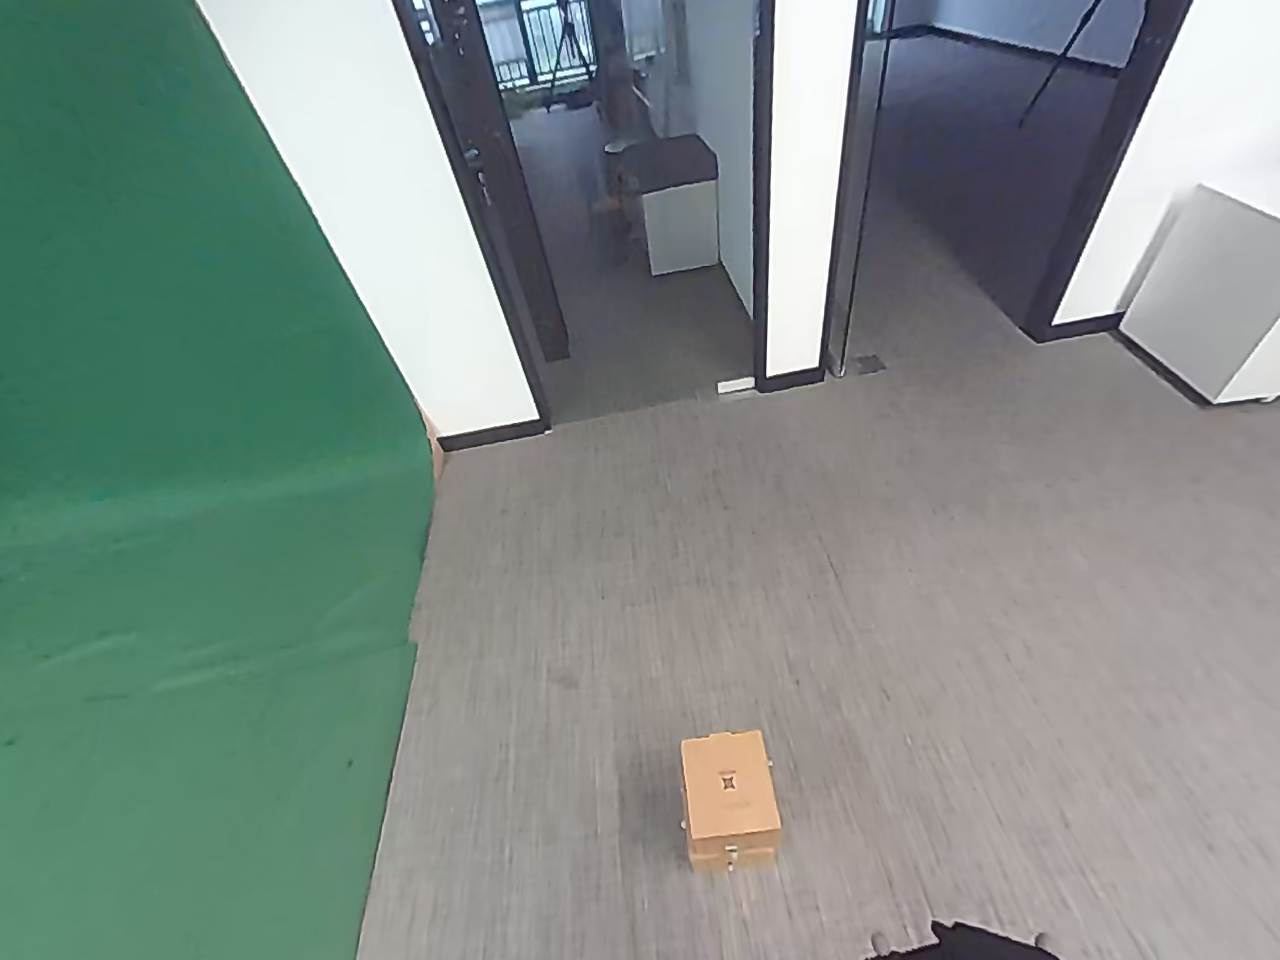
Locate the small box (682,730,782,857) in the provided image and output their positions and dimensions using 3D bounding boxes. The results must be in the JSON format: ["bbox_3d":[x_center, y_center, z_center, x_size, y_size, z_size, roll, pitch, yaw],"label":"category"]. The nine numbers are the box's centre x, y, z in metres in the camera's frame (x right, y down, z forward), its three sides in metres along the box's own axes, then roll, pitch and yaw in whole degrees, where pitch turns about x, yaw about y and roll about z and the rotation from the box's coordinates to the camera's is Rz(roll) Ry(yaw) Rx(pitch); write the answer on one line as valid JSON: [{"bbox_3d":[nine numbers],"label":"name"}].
[{"bbox_3d":[0.182,0.636,1.095,0.168,0.176,0.179,-10,45,4],"label":"small box"}]

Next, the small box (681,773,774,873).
[{"bbox_3d":[0.191,0.756,1.202,0.179,0.176,0.168,-9,44,4],"label":"small box"}]
